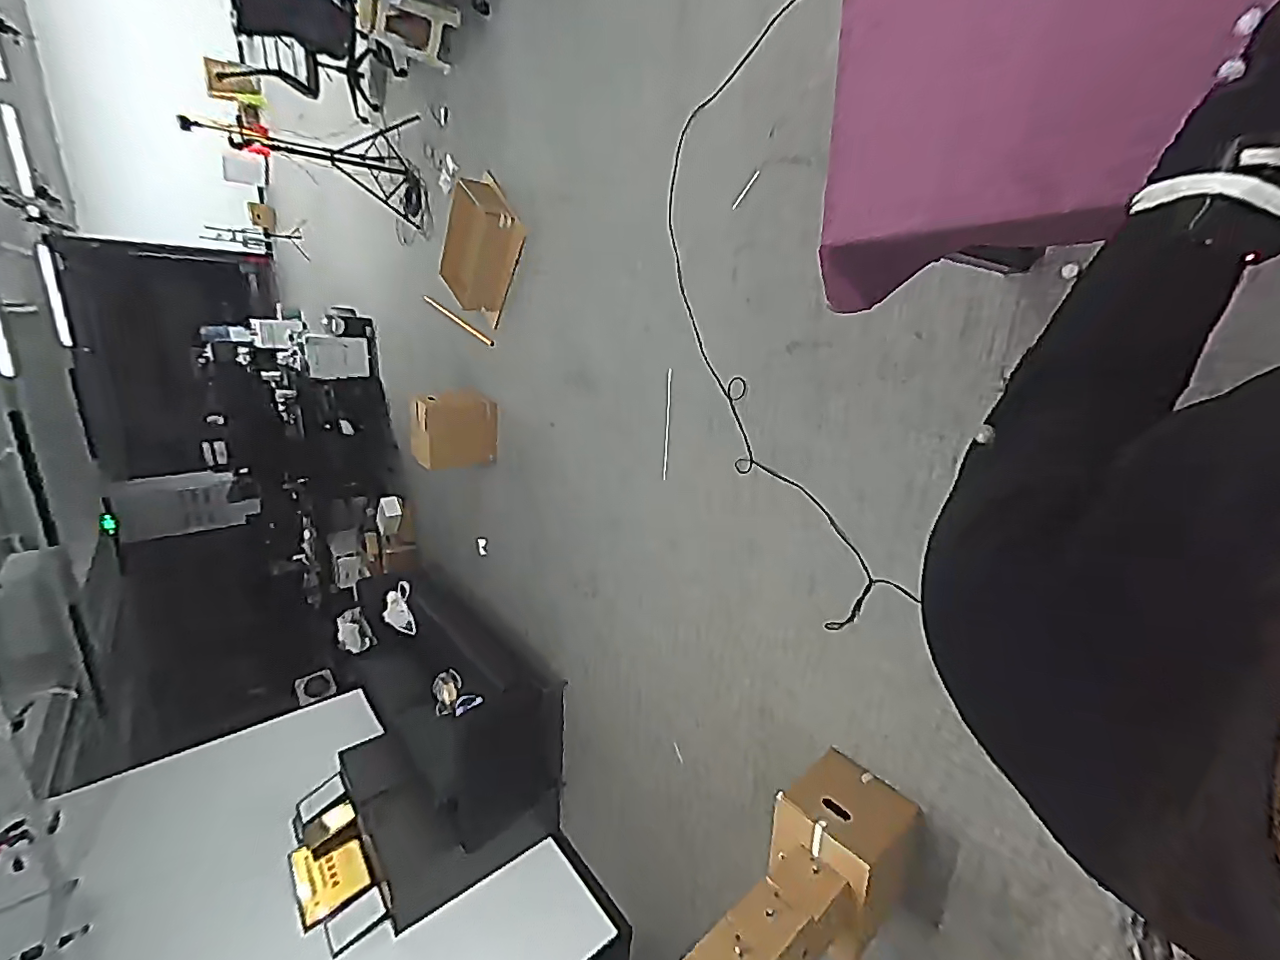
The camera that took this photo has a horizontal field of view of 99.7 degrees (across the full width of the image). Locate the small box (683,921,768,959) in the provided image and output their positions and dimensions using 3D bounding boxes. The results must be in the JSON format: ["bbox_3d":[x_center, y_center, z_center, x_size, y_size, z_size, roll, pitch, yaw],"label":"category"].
[{"bbox_3d":[0.223,1.277,1.352,0.168,0.176,0.179,6,103,49],"label":"small box"}]

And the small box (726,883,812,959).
[{"bbox_3d":[0.348,1.250,1.457,0.168,0.176,0.179,8,104,49],"label":"small box"}]
